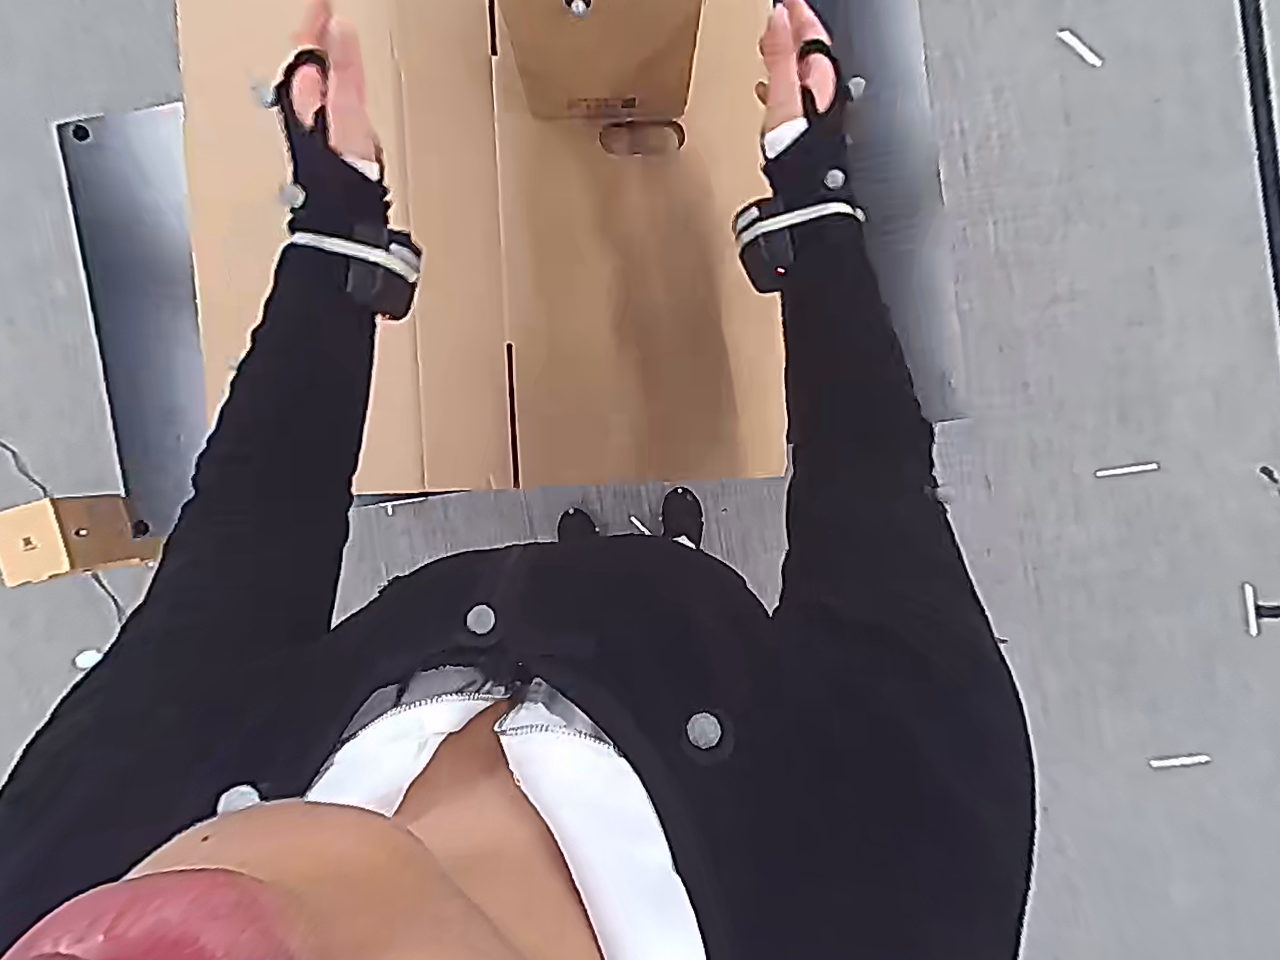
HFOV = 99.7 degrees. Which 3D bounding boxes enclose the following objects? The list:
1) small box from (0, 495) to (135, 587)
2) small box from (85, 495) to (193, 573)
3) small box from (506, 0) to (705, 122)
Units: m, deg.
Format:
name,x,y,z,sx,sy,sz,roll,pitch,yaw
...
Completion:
name,x,y,z,sx,sy,sz,roll,pitch,yaw
small box,-1.389,0.141,1.311,0.168,0.176,0.179,-15,90,2
small box,-1.379,0.141,1.474,0.168,0.176,0.179,-12,92,3
small box,-0.032,-0.465,0.488,0.168,0.176,0.179,-1,90,-1
